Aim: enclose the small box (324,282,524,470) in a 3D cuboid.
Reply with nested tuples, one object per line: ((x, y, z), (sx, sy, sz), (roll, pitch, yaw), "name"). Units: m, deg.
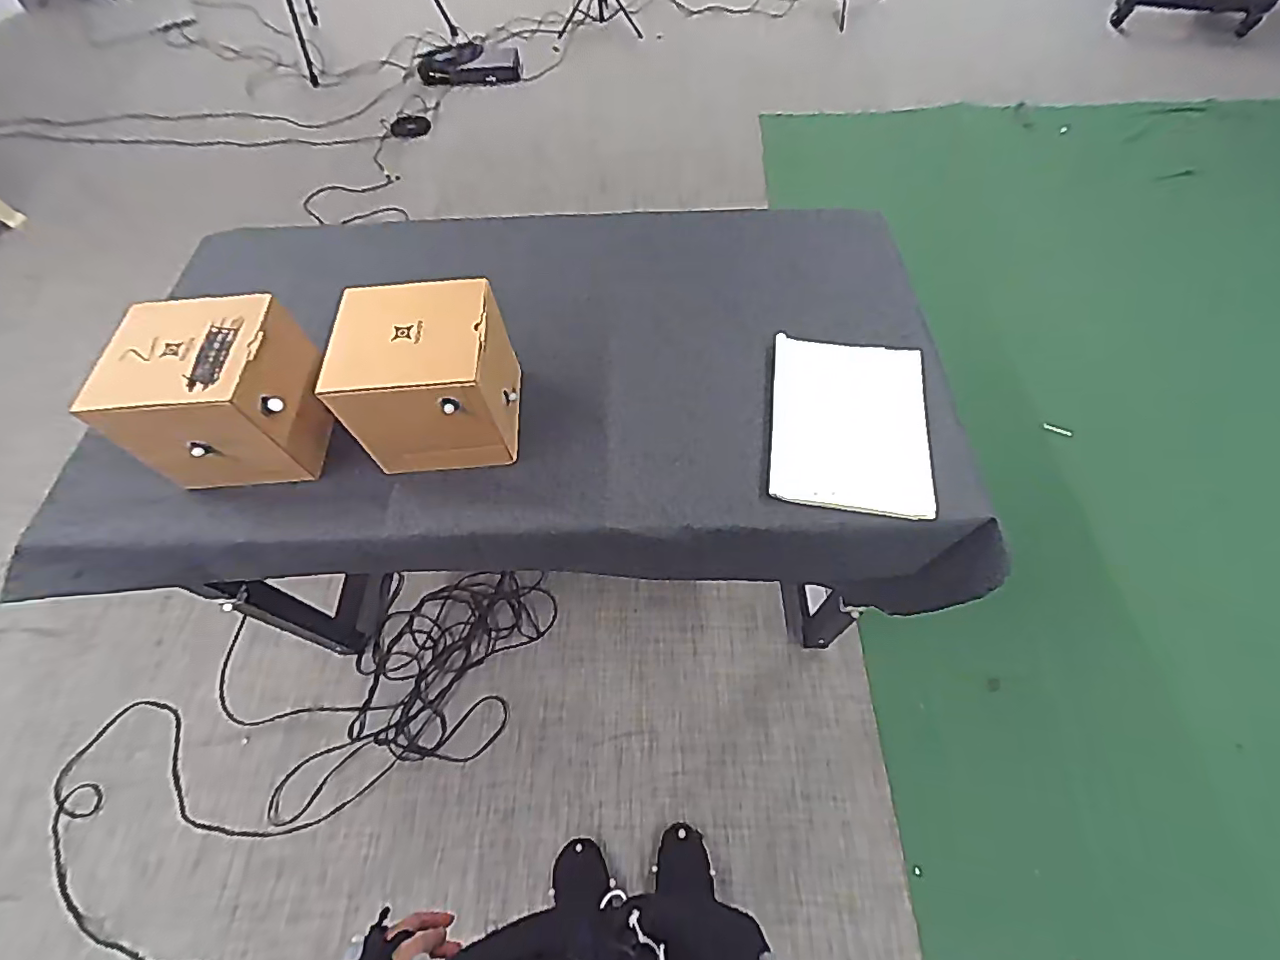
((-0.256, -0.124, 0.688), (0.179, 0.176, 0.168), (-5, 59, -1), "small box")
